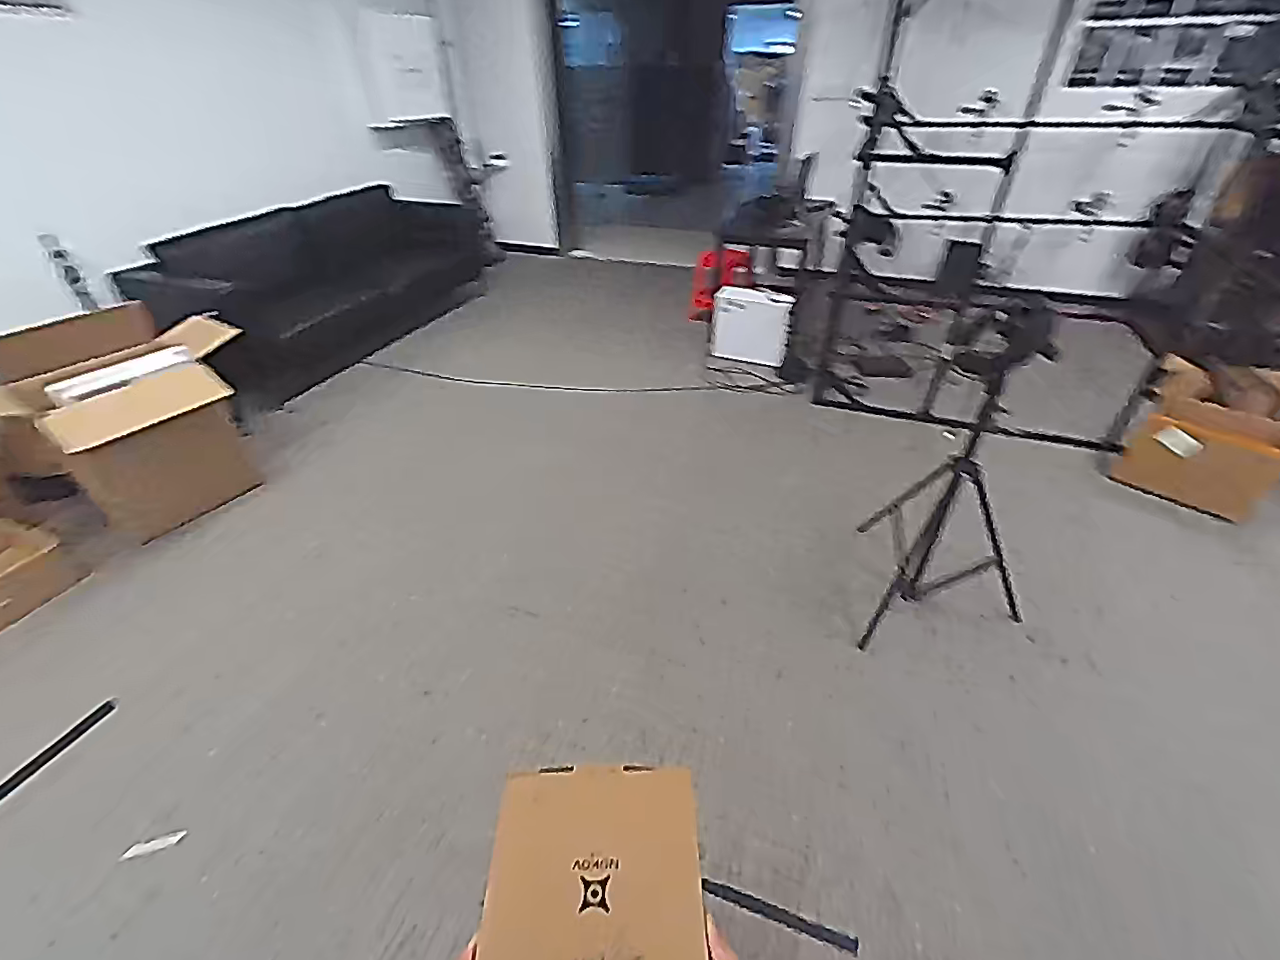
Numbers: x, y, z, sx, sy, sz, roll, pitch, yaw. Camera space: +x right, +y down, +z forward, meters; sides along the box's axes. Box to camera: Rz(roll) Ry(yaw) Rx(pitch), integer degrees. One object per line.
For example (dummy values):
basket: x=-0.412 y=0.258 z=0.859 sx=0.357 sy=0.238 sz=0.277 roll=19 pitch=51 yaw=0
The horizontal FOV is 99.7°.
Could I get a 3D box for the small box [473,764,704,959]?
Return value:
small box: x=-0.040 y=0.372 z=0.466 sx=0.168 sy=0.176 sz=0.179 roll=-1 pitch=40 yaw=-3
